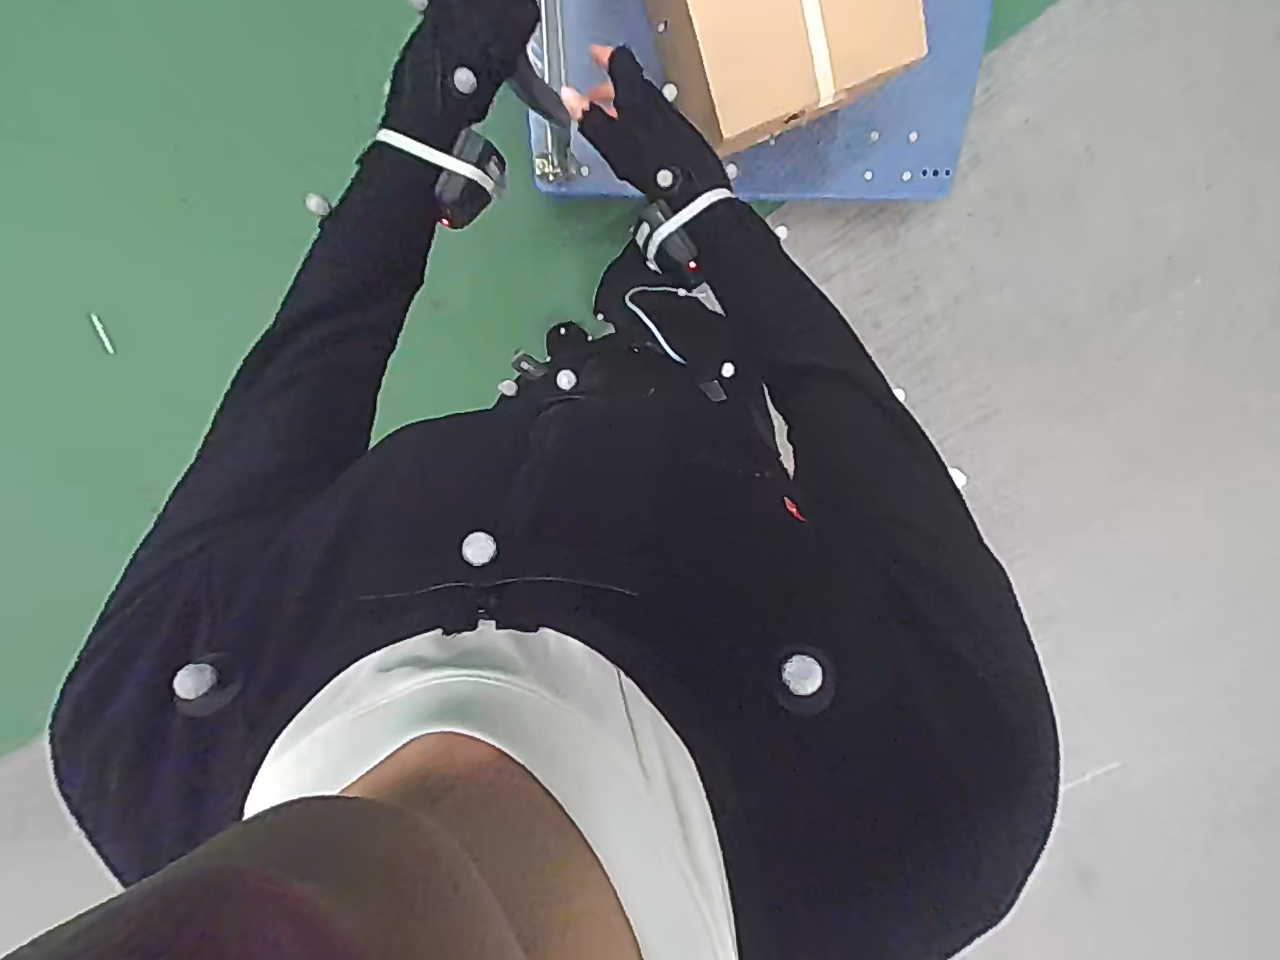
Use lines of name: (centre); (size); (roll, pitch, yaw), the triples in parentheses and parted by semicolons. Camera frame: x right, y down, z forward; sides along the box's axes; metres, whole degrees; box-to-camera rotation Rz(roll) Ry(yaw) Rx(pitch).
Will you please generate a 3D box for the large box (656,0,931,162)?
large box: (0.199, -0.790, 0.848); (0.320, 0.320, 0.408); (-19, 112, 5)
